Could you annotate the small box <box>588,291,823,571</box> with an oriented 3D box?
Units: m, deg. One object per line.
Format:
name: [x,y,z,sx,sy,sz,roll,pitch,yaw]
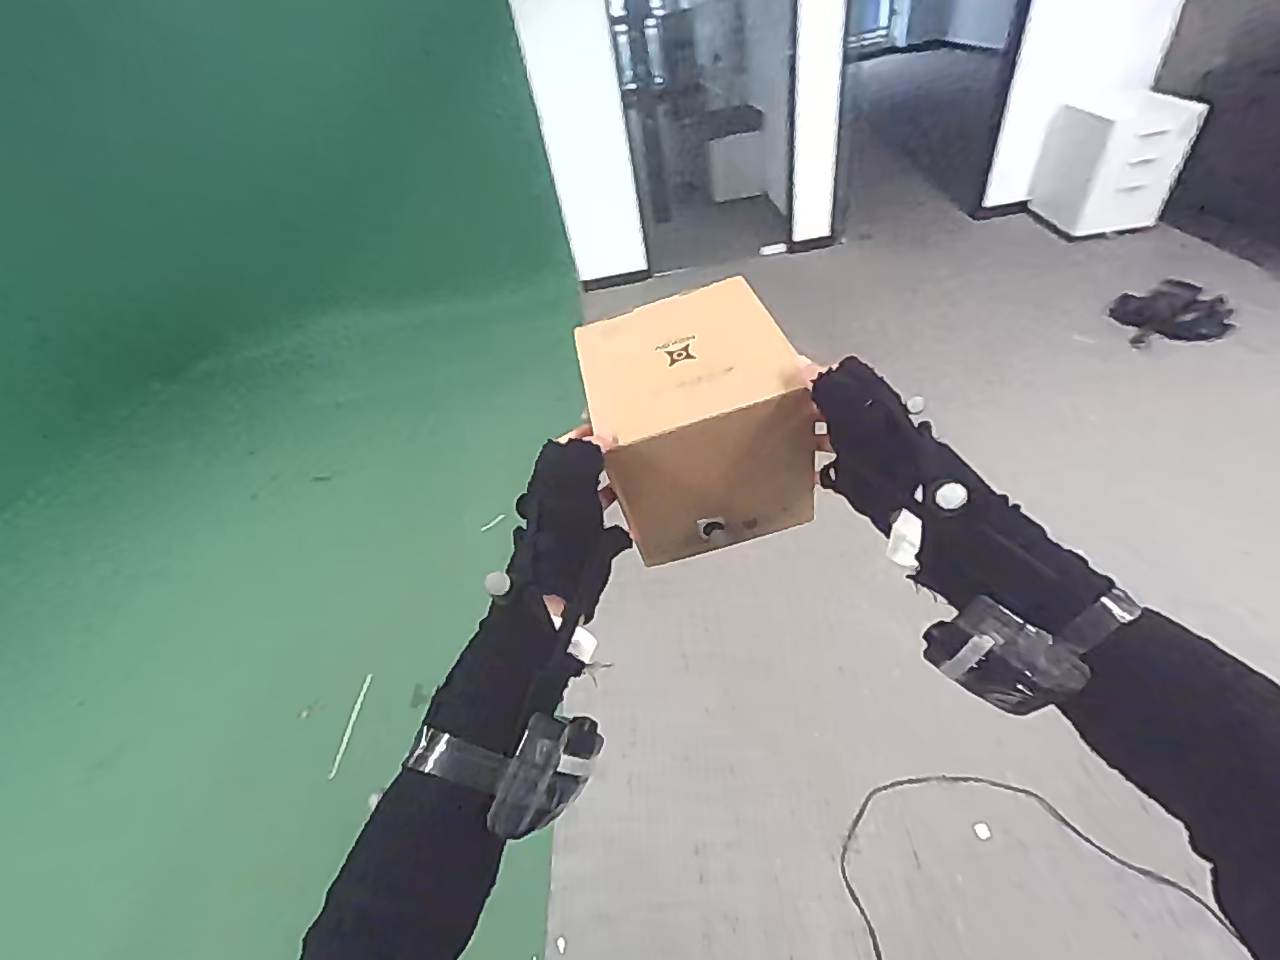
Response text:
small box: [0.060,-0.044,0.514,0.168,0.176,0.179,-18,46,3]
